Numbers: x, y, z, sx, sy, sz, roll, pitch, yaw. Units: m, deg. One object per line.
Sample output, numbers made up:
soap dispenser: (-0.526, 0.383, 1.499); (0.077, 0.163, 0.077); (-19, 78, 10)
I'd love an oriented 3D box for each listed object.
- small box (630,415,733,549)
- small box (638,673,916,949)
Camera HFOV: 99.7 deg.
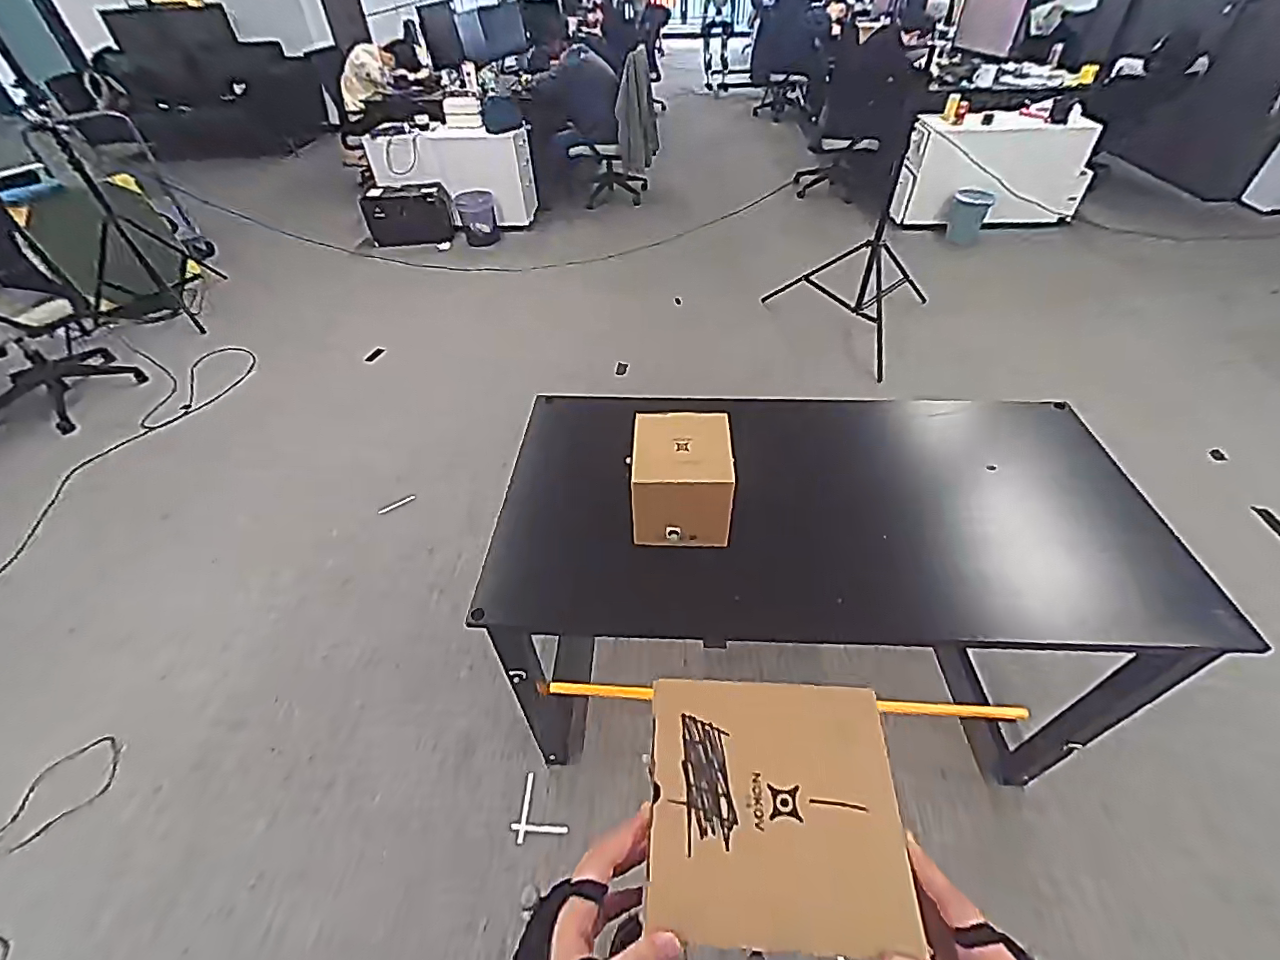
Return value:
small box: (0.071, 0.003, 0.965); (0.168, 0.176, 0.179); (-1, 46, 3)
small box: (0.094, 0.275, 0.449); (0.179, 0.176, 0.168); (1, 51, 4)
